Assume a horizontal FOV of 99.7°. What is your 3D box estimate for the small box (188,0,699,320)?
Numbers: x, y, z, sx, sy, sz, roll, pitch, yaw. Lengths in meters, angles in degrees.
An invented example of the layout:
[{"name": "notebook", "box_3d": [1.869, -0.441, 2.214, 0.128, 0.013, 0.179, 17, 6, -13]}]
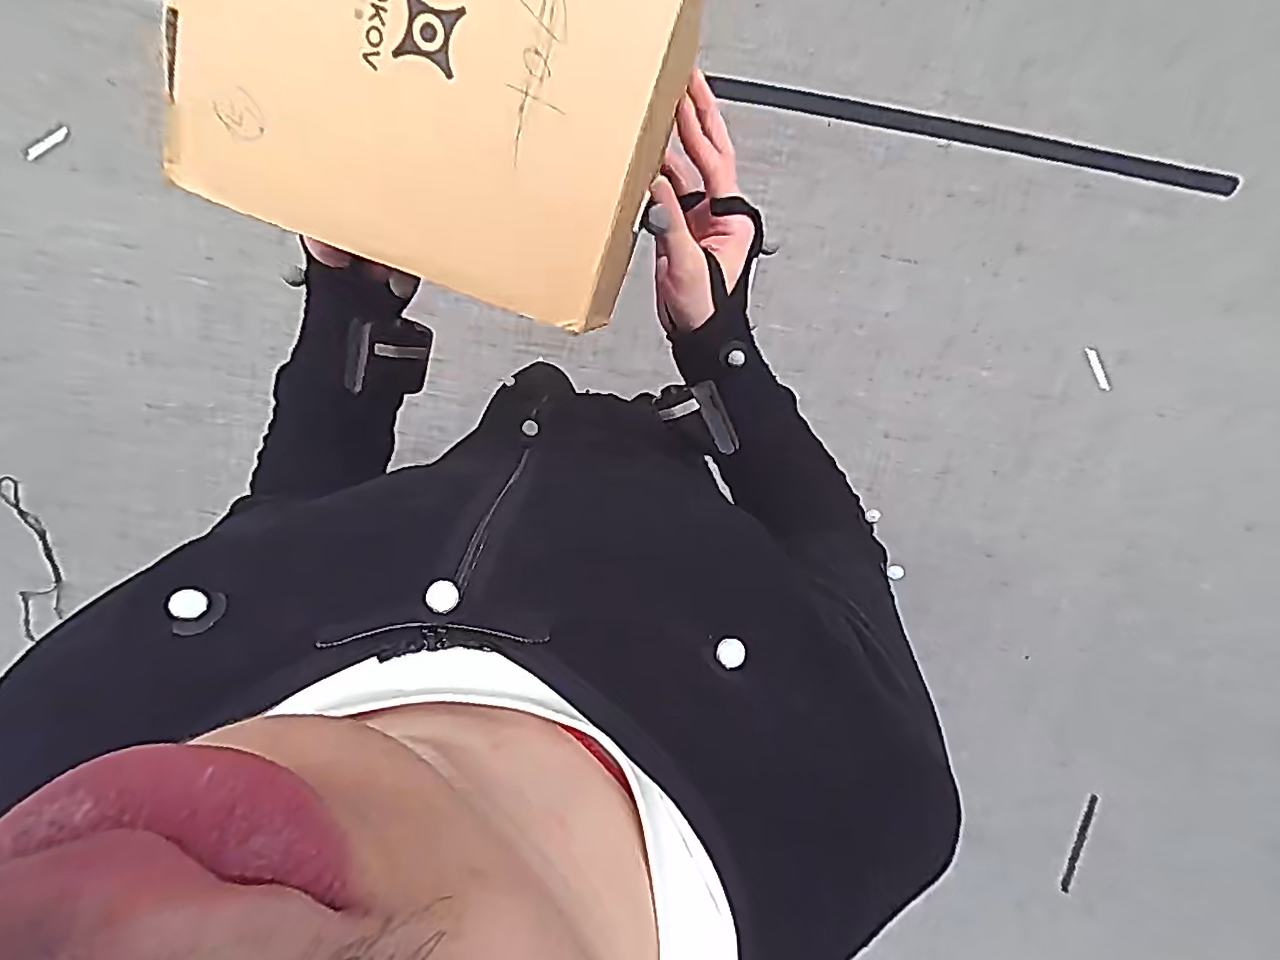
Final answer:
[{"name": "small box", "box_3d": [-0.078, -0.191, 0.284, 0.179, 0.176, 0.168, 18, 107, -4]}]
